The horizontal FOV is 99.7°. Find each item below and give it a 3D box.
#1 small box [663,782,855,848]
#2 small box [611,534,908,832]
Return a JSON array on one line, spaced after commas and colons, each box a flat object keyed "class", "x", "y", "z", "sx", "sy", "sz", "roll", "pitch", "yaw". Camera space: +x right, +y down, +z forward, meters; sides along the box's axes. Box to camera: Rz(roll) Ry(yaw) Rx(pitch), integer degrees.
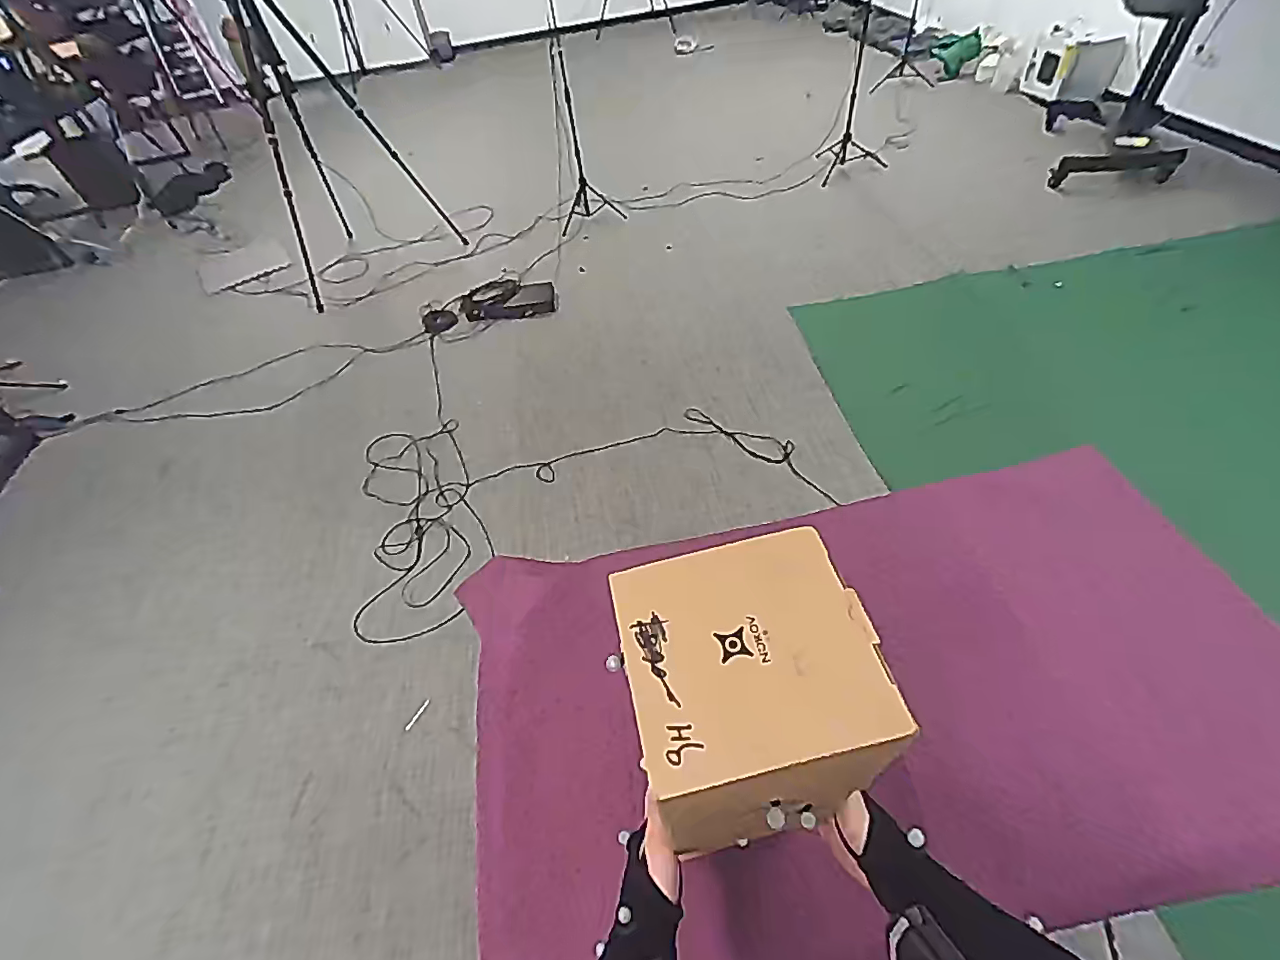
[{"class": "small box", "x": 0.099, "y": 0.275, "z": 0.580, "sx": 0.179, "sy": 0.176, "sz": 0.168, "roll": -13, "pitch": 49, "yaw": -1}, {"class": "small box", "x": 0.081, "y": 0.172, "z": 0.452, "sx": 0.179, "sy": 0.176, "sz": 0.168, "roll": -12, "pitch": 49, "yaw": -3}]
